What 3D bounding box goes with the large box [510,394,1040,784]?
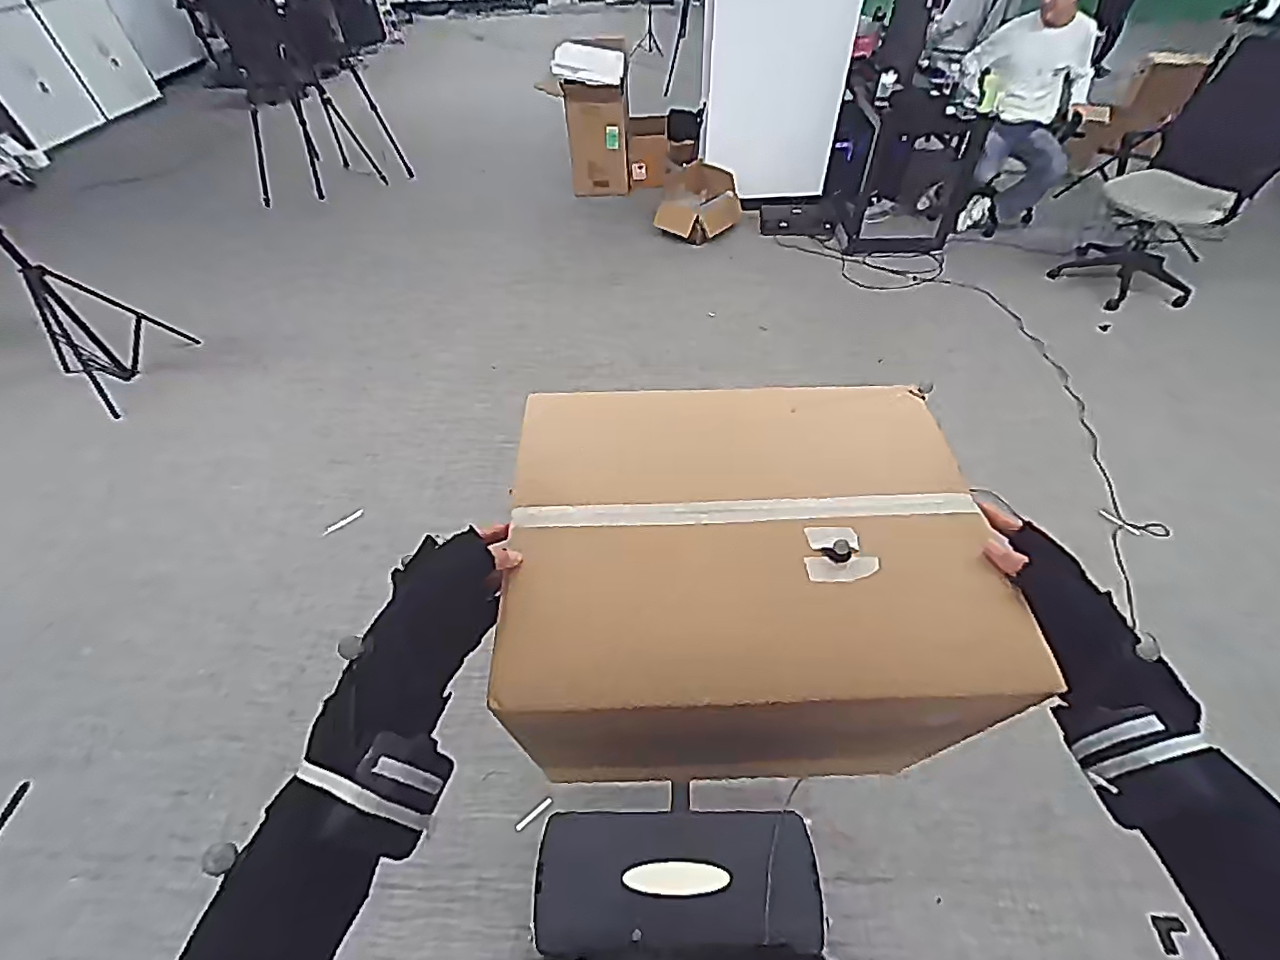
[{"bbox_3d":[0.092,0.127,0.600,0.408,0.320,0.320,-2,53,-2],"label":"large box"}]
